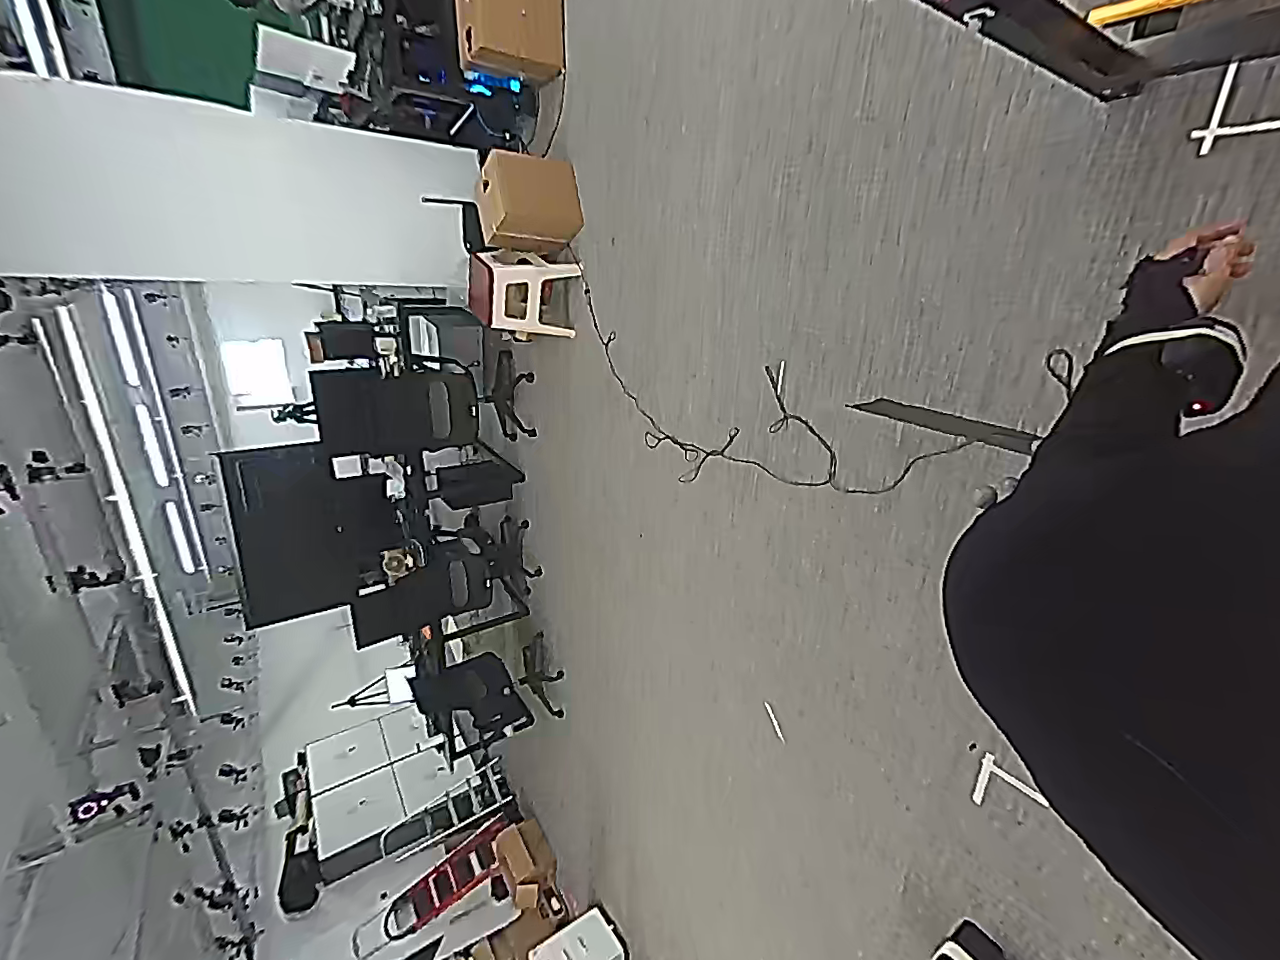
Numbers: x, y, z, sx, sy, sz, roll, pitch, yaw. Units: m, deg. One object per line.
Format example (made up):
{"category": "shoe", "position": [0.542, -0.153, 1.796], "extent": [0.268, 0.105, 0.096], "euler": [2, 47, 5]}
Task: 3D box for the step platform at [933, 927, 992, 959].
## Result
{"category": "step platform", "position": [1.052, 1.550, 1.340], "extent": [0.684, 0.204, 0.286], "euler": [29, 124, 49]}
